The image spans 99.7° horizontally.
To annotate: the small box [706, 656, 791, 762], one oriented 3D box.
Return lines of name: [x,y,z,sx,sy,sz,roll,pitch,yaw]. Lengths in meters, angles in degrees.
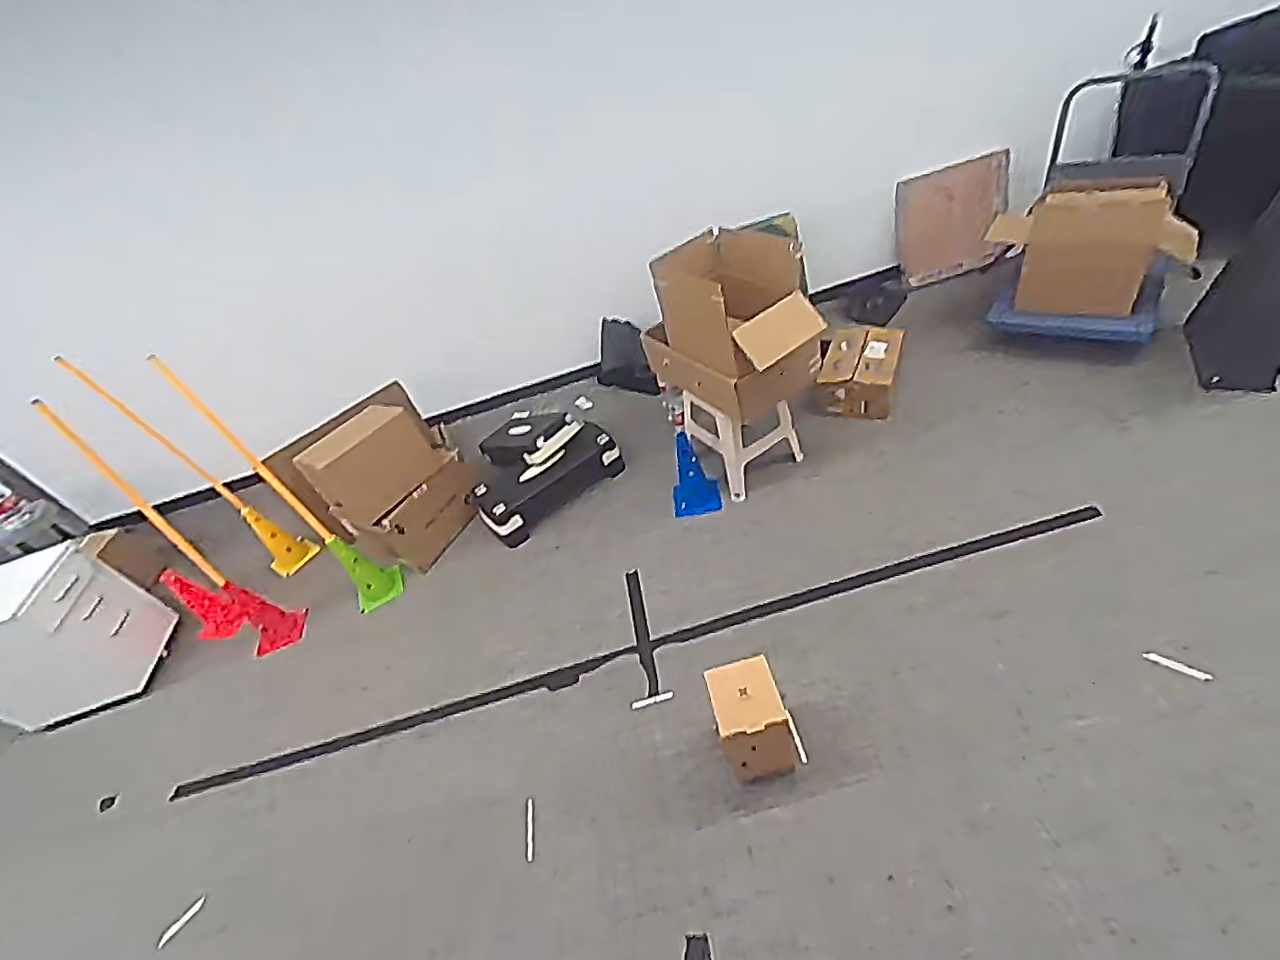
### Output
small box: [0.277,0.588,1.387,0.168,0.176,0.179,-17,41,2]
